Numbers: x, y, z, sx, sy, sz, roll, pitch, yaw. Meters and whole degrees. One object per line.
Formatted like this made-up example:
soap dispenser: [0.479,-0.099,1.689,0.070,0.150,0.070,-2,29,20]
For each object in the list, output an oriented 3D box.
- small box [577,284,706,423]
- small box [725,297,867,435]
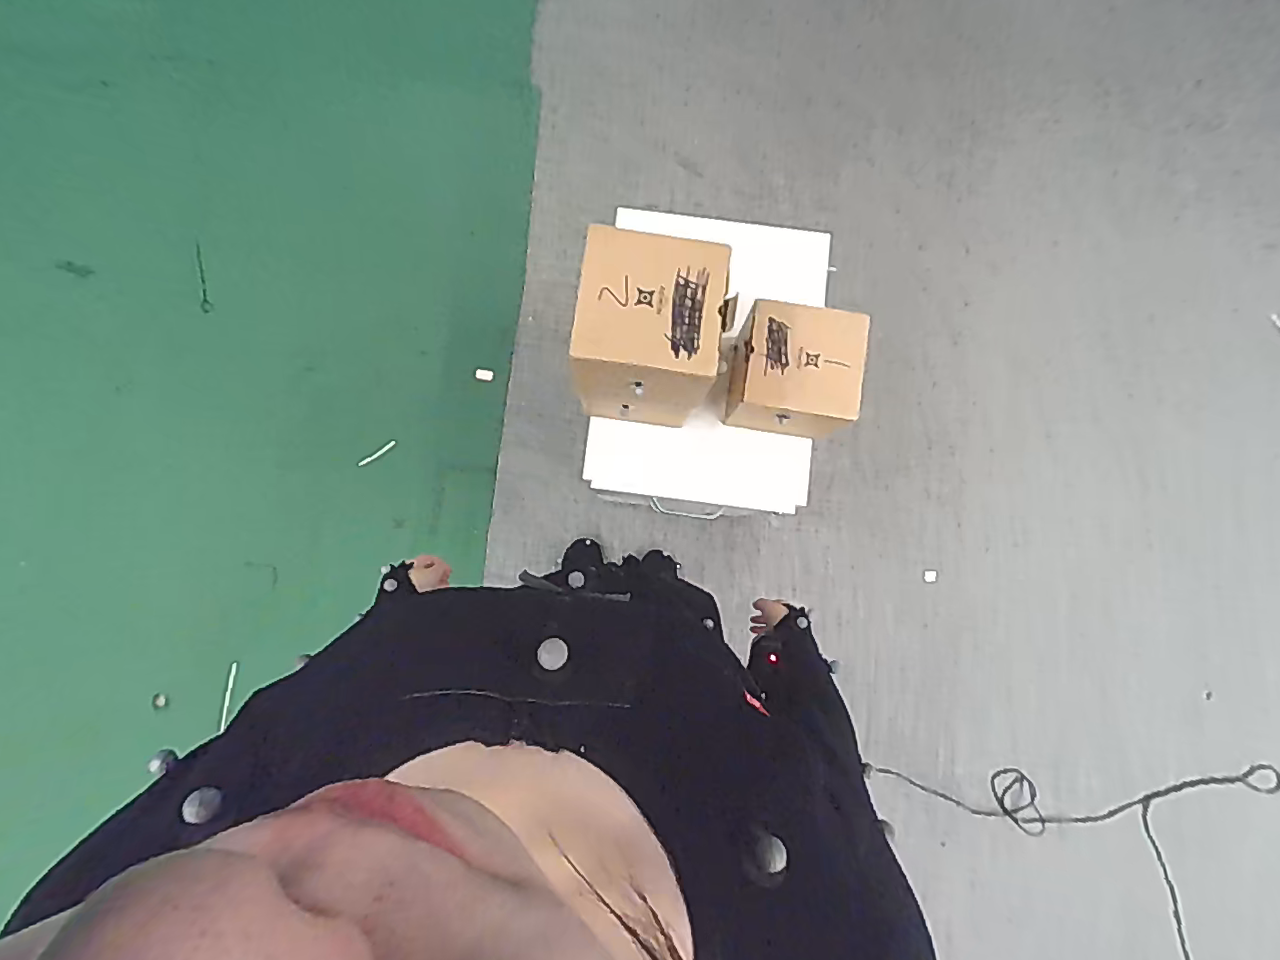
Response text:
small box: [0.000,-0.196,0.883,0.179,0.176,0.168,8,85,-2]
small box: [0.245,-0.176,0.889,0.179,0.176,0.168,9,84,-1]
